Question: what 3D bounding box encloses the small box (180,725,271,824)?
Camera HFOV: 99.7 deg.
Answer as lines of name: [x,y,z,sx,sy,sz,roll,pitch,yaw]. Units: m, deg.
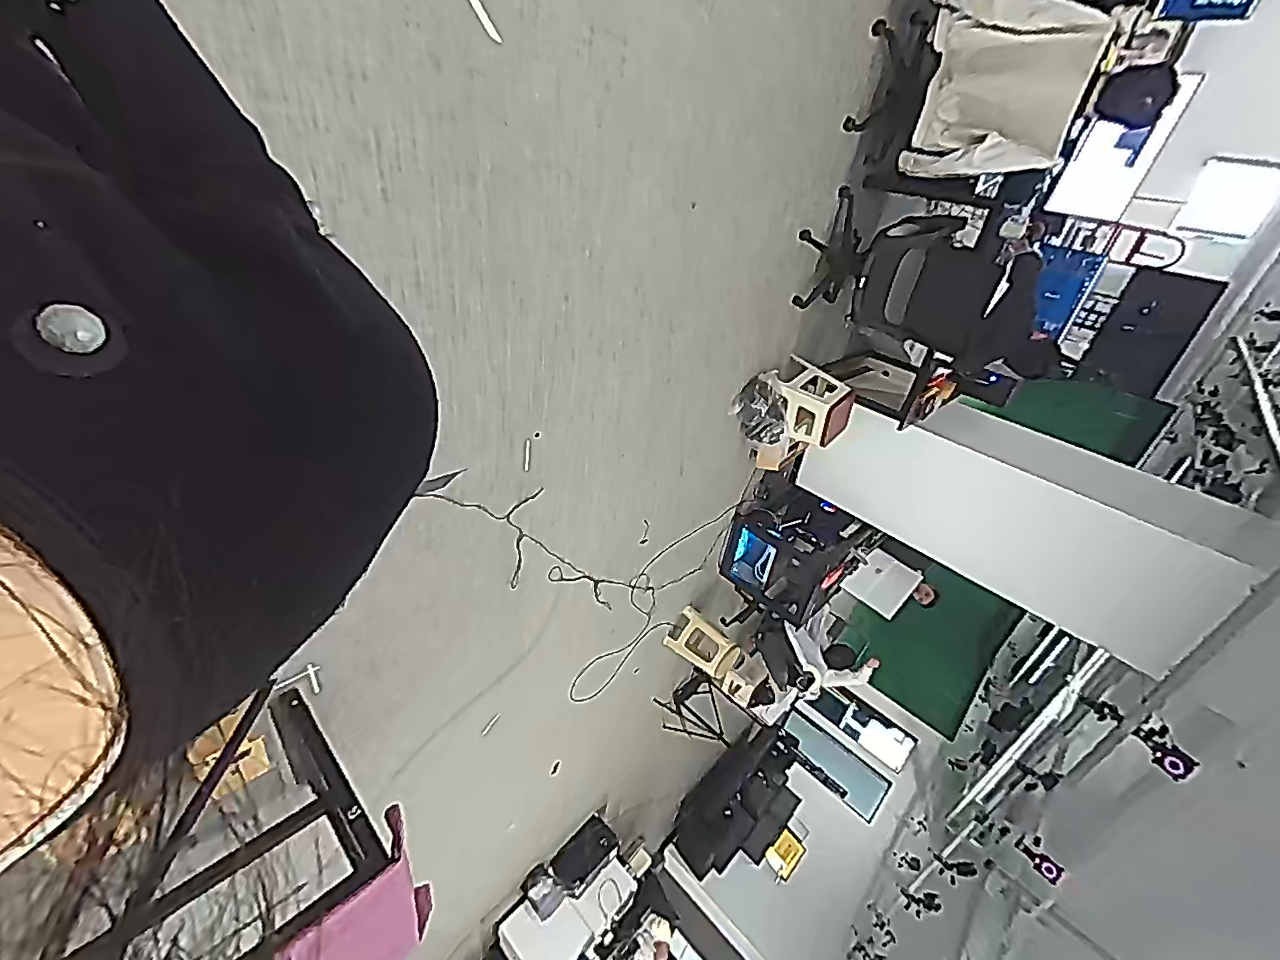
small box: [-1.258,0.880,1.639,0.168,0.176,0.179,-23,134,-43]
